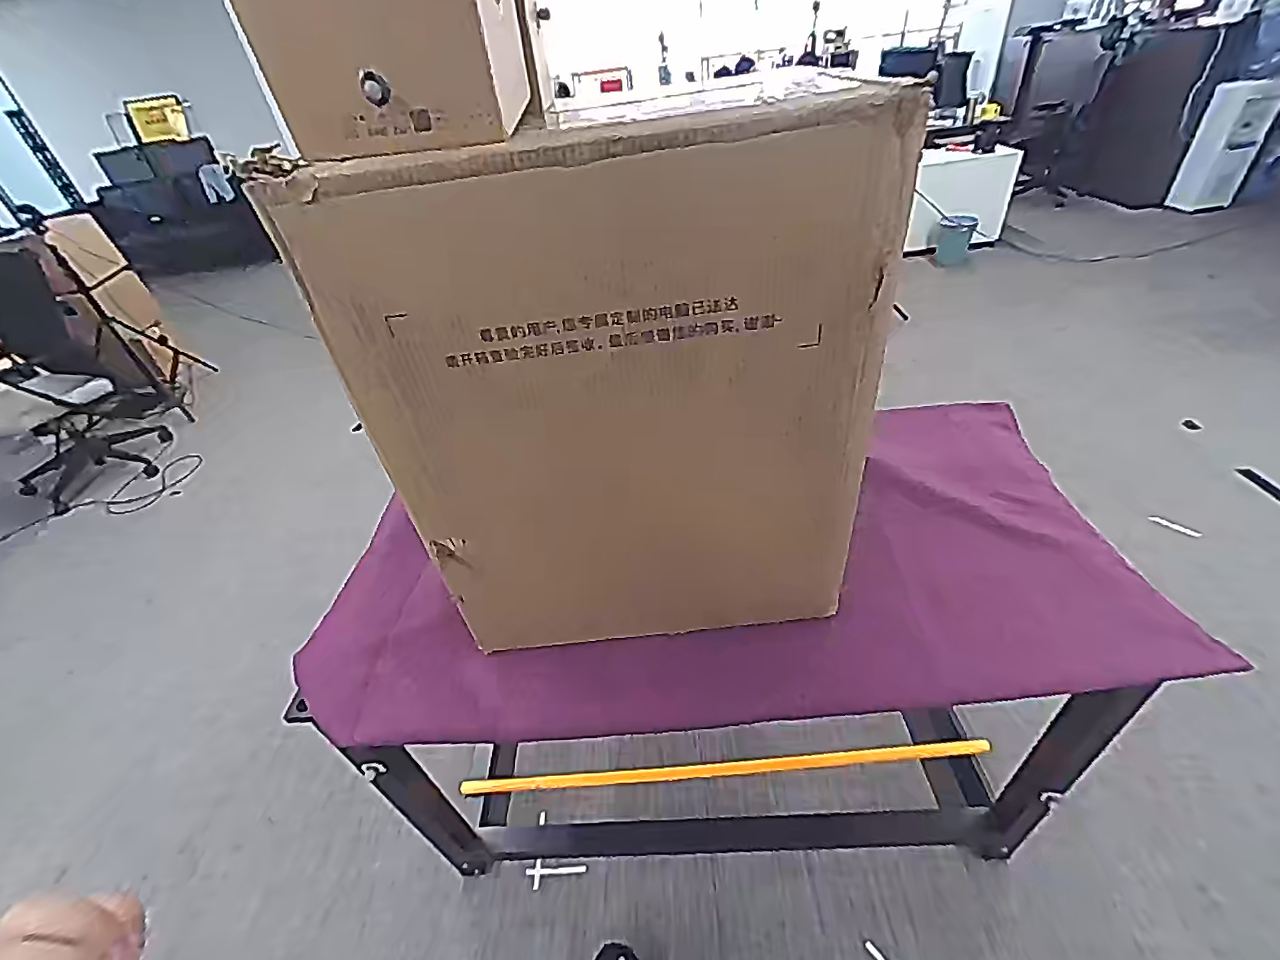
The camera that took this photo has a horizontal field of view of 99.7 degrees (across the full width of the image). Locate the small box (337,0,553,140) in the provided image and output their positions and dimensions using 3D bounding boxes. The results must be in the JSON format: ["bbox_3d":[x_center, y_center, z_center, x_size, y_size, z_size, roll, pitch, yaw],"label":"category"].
[{"bbox_3d":[-0.195,-0.476,0.574,0.179,0.176,0.168,-6,38,1],"label":"small box"}]
